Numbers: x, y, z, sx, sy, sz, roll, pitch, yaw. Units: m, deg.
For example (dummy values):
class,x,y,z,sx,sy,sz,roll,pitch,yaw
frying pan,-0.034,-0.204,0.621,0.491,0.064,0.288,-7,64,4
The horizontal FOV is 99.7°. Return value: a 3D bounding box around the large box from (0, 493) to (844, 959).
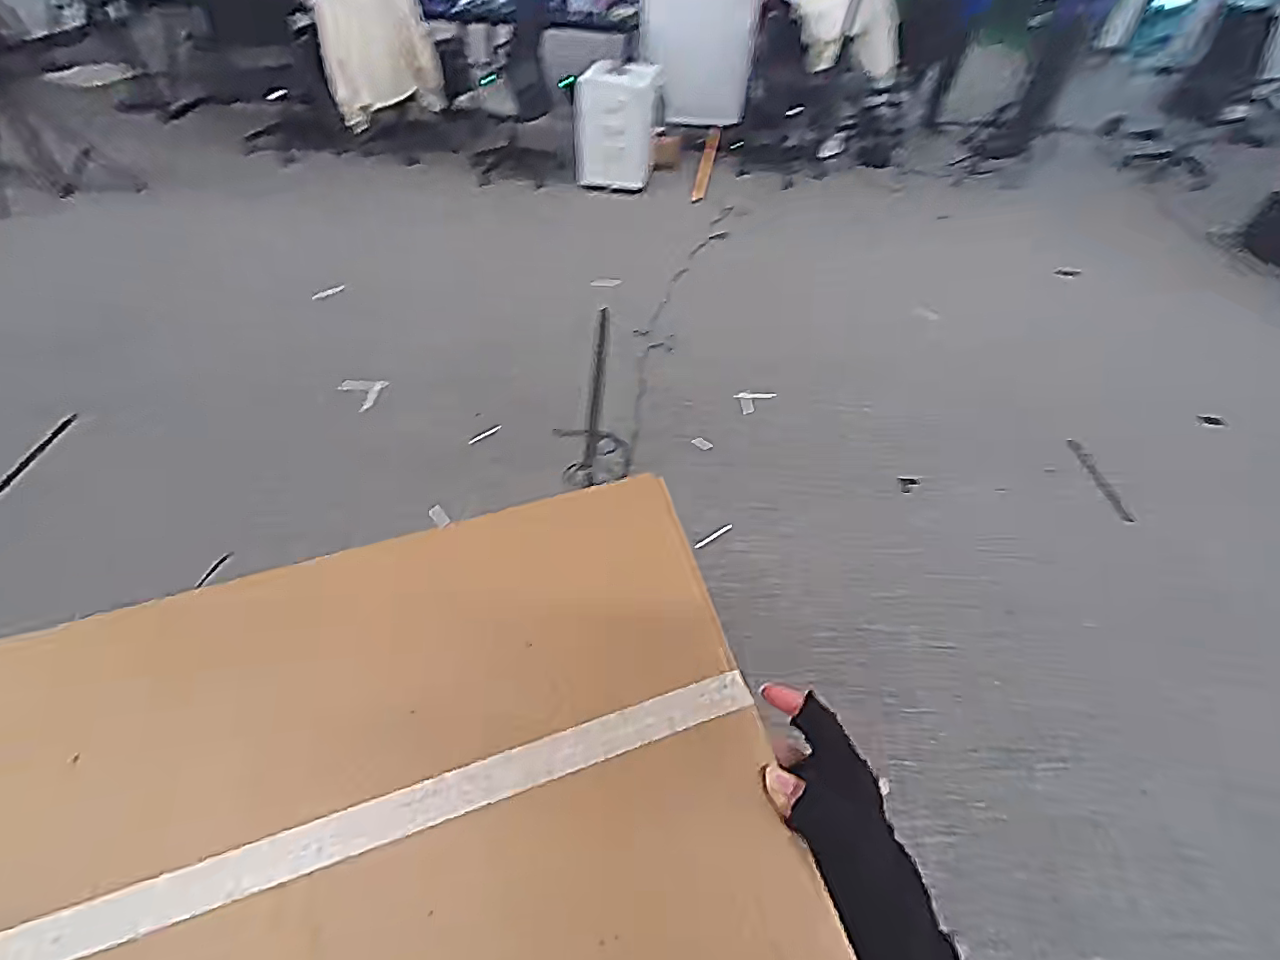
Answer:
class,x,y,z,sx,sy,sz,roll,pitch,yaw
large box,-0.132,0.255,0.418,0.408,0.320,0.320,-14,61,-11
